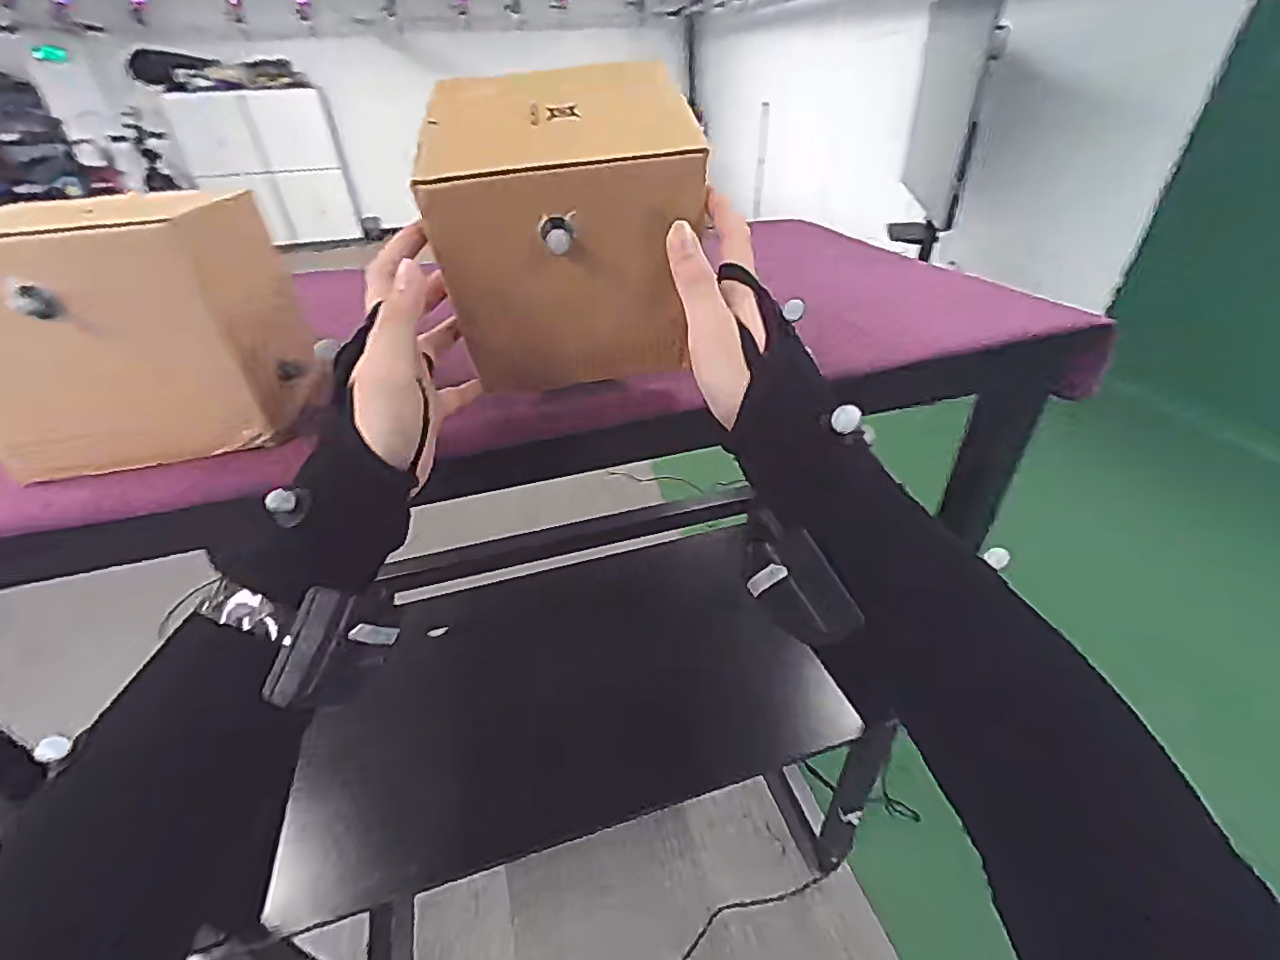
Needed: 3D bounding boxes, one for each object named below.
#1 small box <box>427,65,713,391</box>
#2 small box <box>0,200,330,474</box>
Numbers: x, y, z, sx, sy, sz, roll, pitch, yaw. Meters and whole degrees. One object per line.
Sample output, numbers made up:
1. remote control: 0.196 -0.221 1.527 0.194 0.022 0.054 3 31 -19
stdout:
1. small box: -0.047 -0.194 0.433 0.179 0.176 0.168 -9 54 -2
2. small box: -0.389 -0.120 0.440 0.179 0.176 0.168 -10 35 -11
